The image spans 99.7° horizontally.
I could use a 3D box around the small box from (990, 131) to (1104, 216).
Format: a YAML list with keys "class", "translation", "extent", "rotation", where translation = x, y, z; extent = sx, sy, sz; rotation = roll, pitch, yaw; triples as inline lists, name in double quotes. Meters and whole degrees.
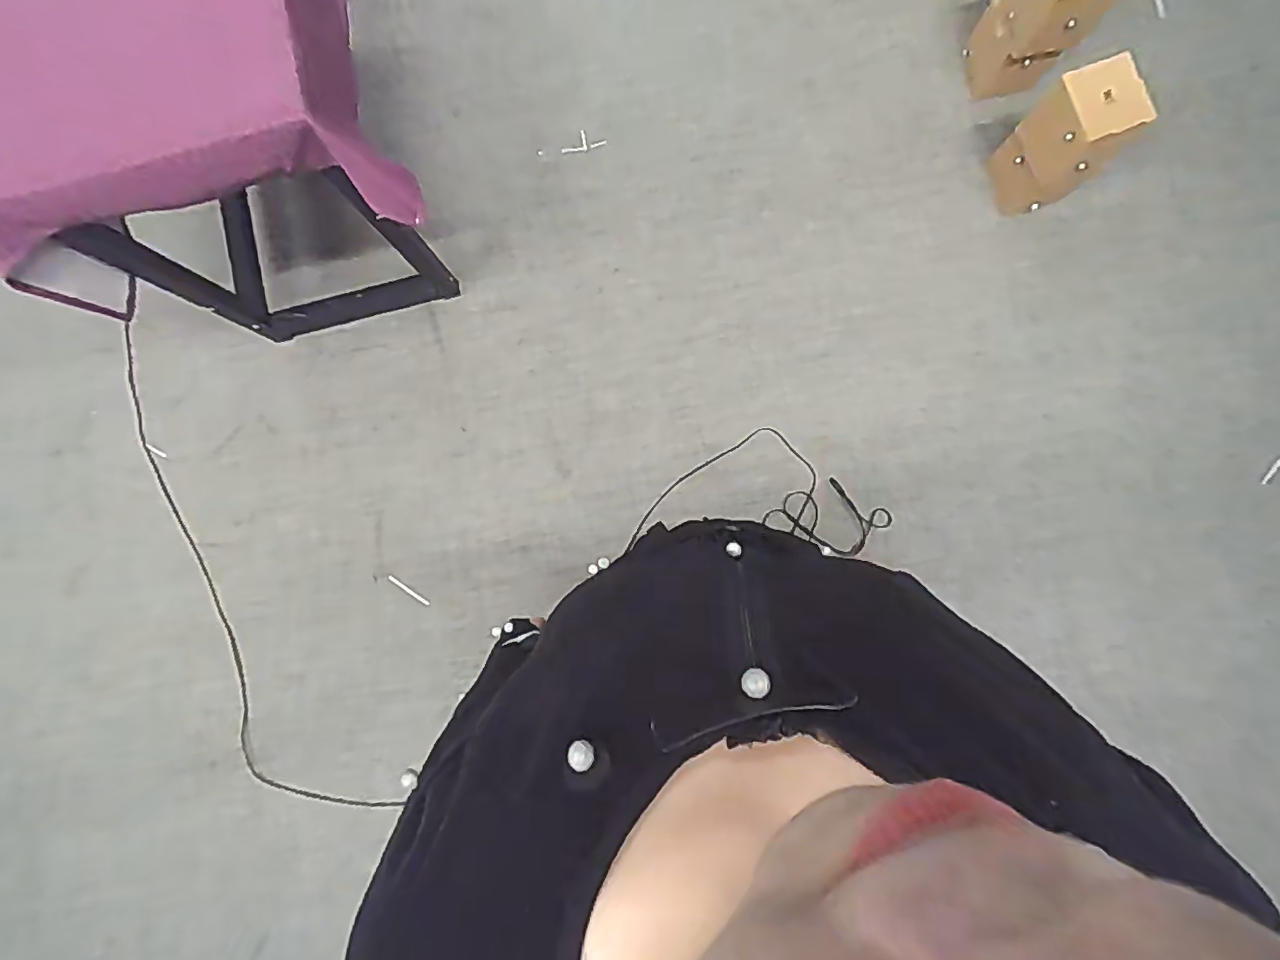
- class: "small box"
  translation: [1.101, -0.863, 1.480]
  extent: [0.168, 0.176, 0.179]
  rotation: [-13, 86, 2]

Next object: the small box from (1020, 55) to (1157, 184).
- class: "small box"
  translation: [1.078, -0.869, 1.318]
  extent: [0.168, 0.176, 0.179]
  rotation: [-18, 85, 2]

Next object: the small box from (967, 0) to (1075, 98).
- class: "small box"
  translation: [1.048, -1.211, 1.509]
  extent: [0.179, 0.176, 0.168]
  rotation: [-11, 85, 1]
